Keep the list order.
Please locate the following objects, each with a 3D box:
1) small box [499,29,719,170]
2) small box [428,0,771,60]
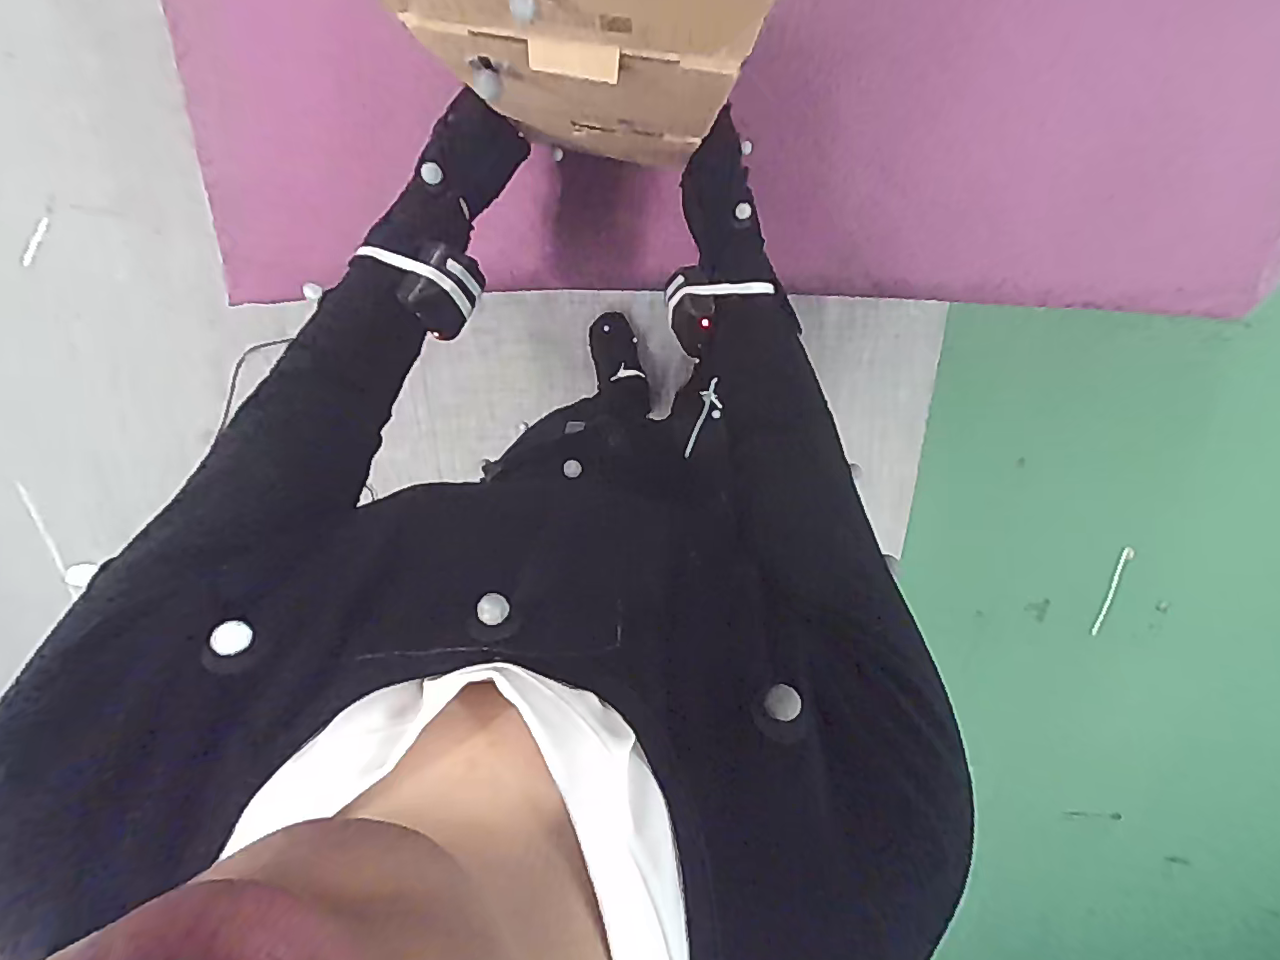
[{"bbox_3d":[-0.015,-0.382,0.462,0.168,0.176,0.179,8,112,-3],"label":"small box"},{"bbox_3d":[-0.019,-0.264,0.156,0.168,0.176,0.179,5,112,-2],"label":"small box"}]
